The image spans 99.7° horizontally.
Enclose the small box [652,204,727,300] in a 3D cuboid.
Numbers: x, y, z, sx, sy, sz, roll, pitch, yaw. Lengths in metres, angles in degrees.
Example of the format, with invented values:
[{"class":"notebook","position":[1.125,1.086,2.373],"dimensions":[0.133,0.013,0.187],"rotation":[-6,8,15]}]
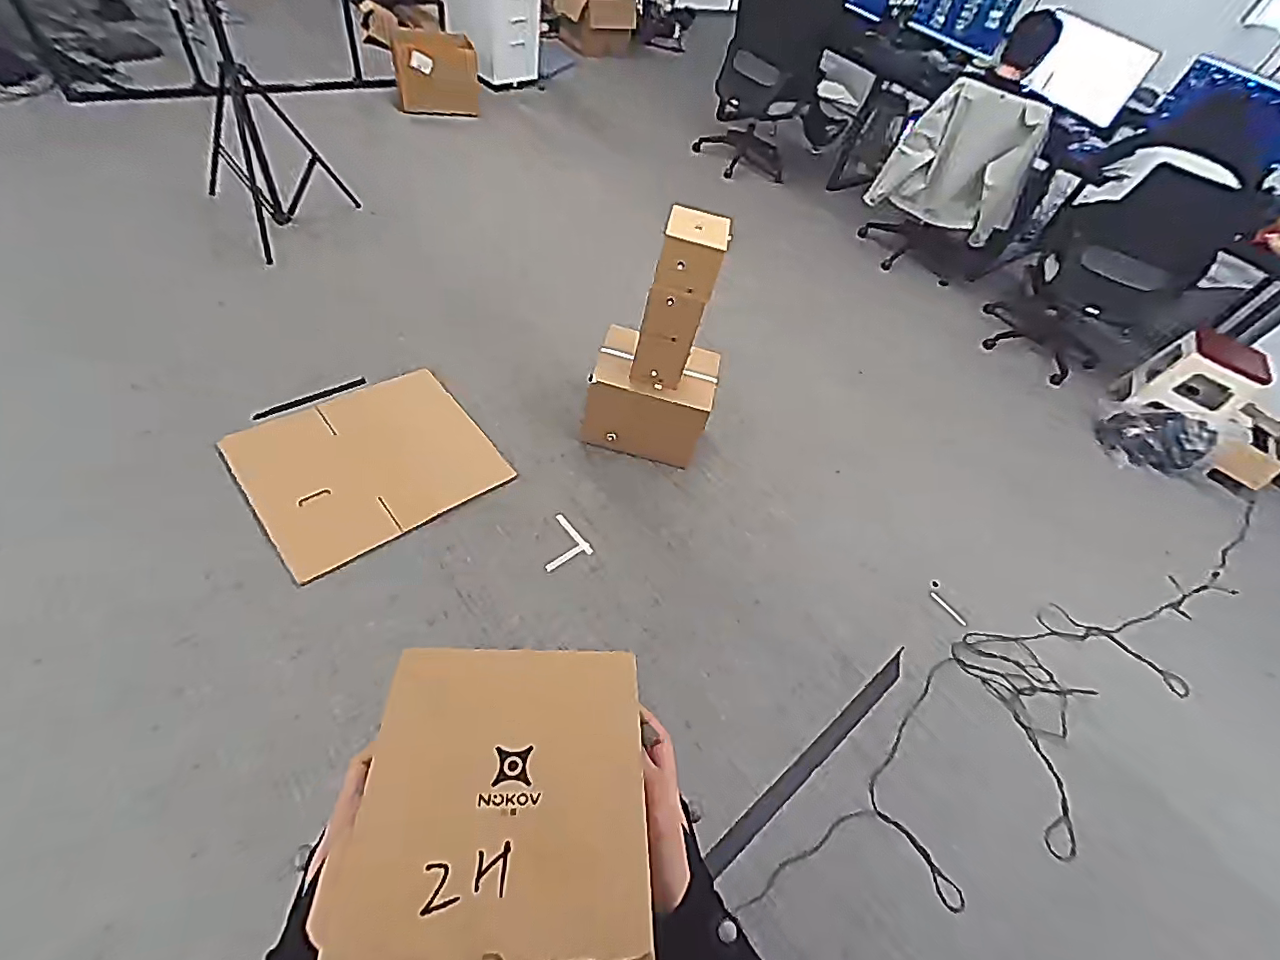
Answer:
[{"class":"small box","position":[0.135,-0.628,1.503],"dimensions":[0.168,0.176,0.179],"rotation":[13,51,-3]}]

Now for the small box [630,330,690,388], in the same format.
[{"class":"small box","position":[0.070,-0.432,1.757],"dimensions":[0.168,0.176,0.179],"rotation":[14,52,-3]}]

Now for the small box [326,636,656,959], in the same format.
[{"class":"small box","position":[-0.087,0.233,0.382],"dimensions":[0.168,0.176,0.179],"rotation":[3,43,-8]}]

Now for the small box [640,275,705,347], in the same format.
[{"class":"small box","position":[0.101,-0.533,1.631],"dimensions":[0.168,0.176,0.179],"rotation":[14,50,-3]}]
